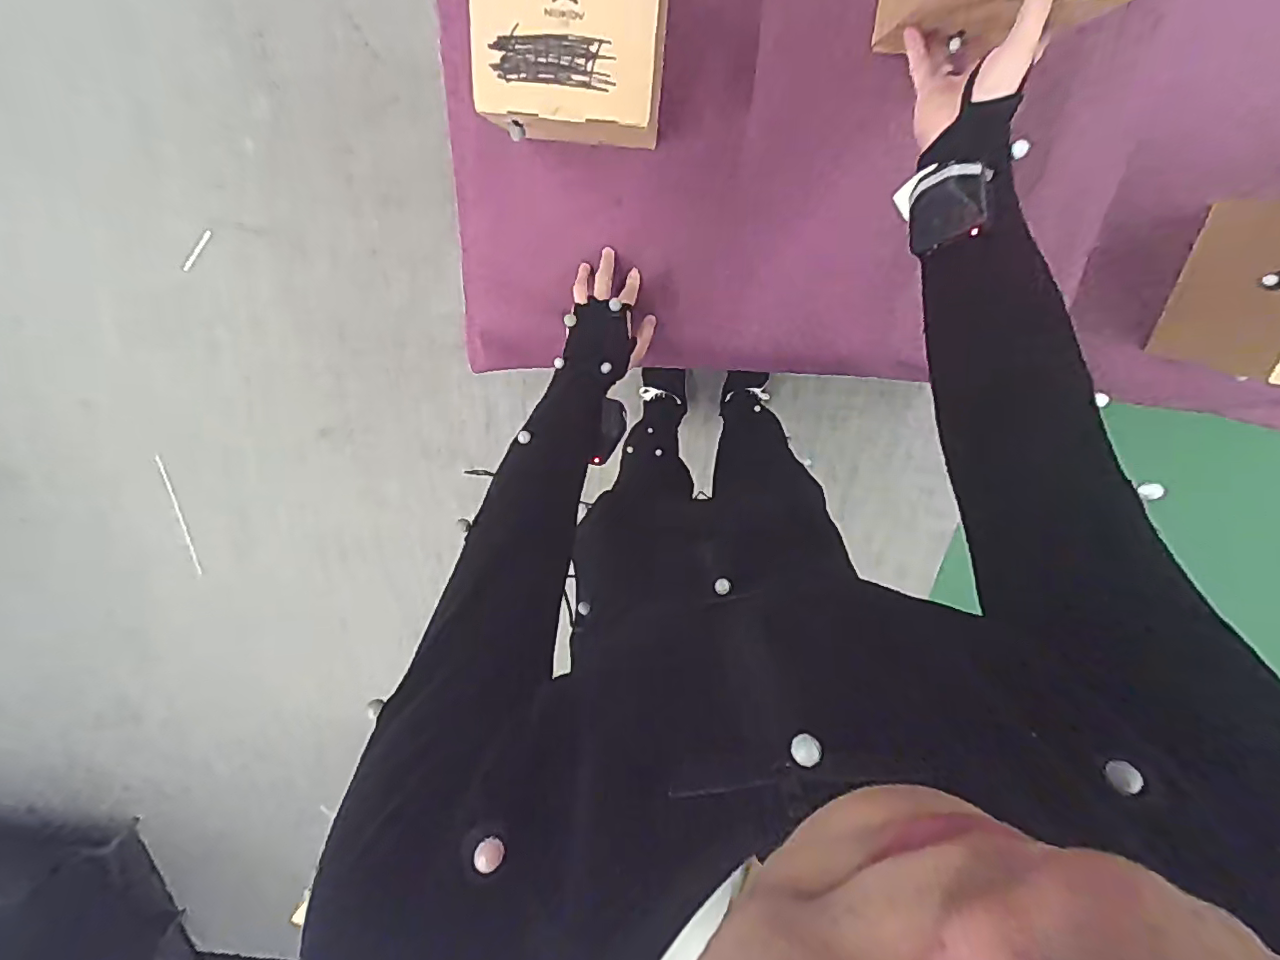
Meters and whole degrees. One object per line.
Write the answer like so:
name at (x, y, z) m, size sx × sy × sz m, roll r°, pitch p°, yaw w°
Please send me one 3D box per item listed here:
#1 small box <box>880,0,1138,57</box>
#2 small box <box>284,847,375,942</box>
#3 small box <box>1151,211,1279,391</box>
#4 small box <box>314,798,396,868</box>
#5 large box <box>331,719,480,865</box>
small box at (0.337, -0.510, 0.482) m, size 0.168 × 0.176 × 0.179 m, roll 3°, pitch 117°, yaw 2°
small box at (-0.980, 1.316, 1.723) m, size 0.168 × 0.176 × 0.179 m, roll 33°, pitch 113°, yaw -13°
small box at (0.741, -0.197, 0.600) m, size 0.168 × 0.176 × 0.179 m, roll 7°, pitch 115°, yaw 2°
small box at (-0.979, 1.250, 1.873) m, size 0.168 × 0.176 × 0.179 m, roll 33°, pitch 111°, yaw -12°
large box at (-0.908, 1.216, 2.124) m, size 0.408 × 0.320 × 0.320 m, roll 27°, pitch 115°, yaw -10°
